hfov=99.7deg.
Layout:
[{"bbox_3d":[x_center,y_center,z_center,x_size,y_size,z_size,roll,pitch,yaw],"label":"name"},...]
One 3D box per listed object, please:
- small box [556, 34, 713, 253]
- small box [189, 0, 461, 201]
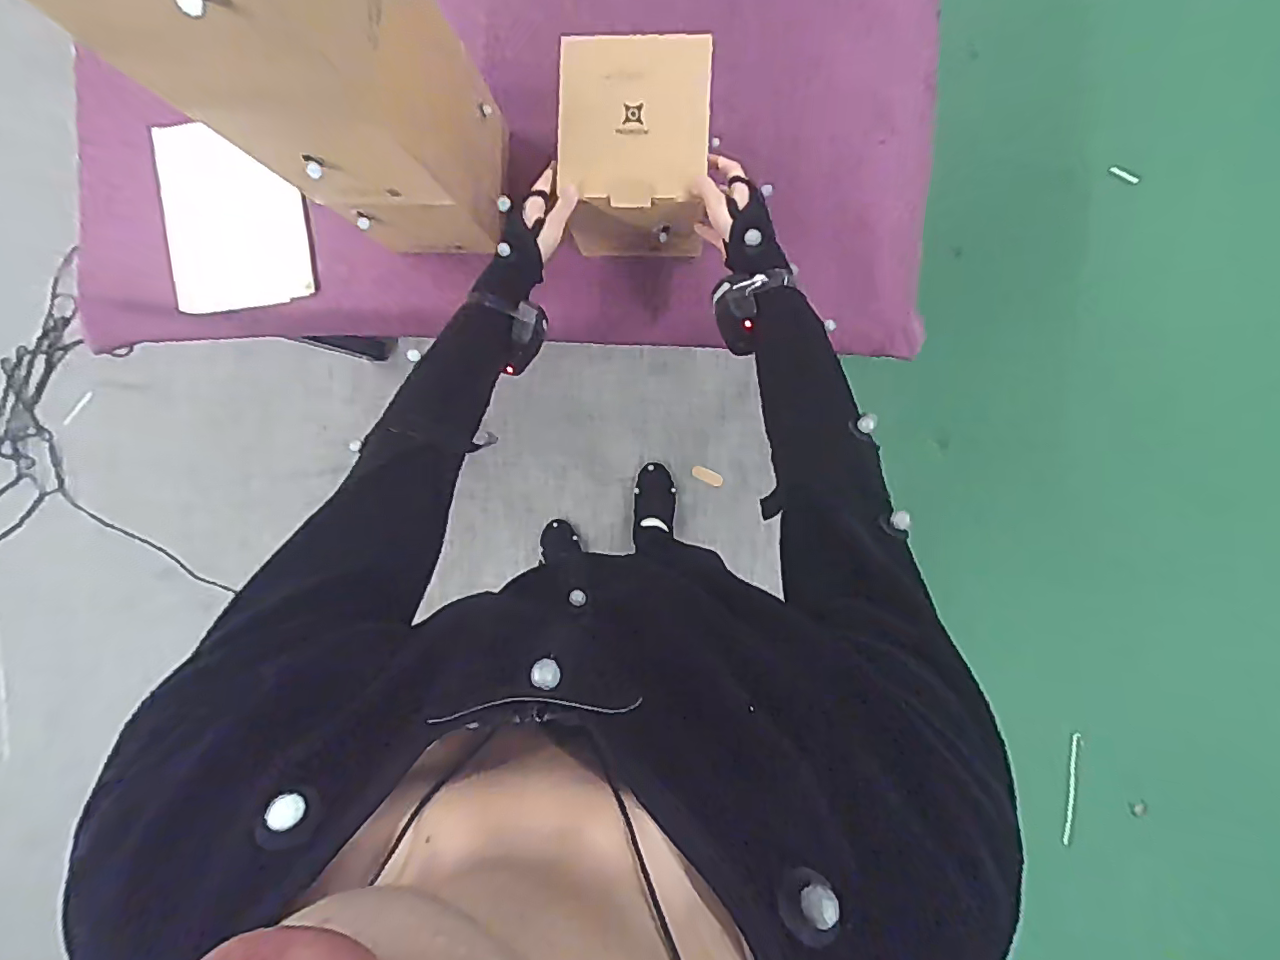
[{"bbox_3d":[-0.002,-0.395,0.663,0.168,0.176,0.179,3,92,3],"label":"small box"},{"bbox_3d":[-0.284,-0.390,0.519,0.168,0.176,0.179,3,92,4],"label":"small box"}]
